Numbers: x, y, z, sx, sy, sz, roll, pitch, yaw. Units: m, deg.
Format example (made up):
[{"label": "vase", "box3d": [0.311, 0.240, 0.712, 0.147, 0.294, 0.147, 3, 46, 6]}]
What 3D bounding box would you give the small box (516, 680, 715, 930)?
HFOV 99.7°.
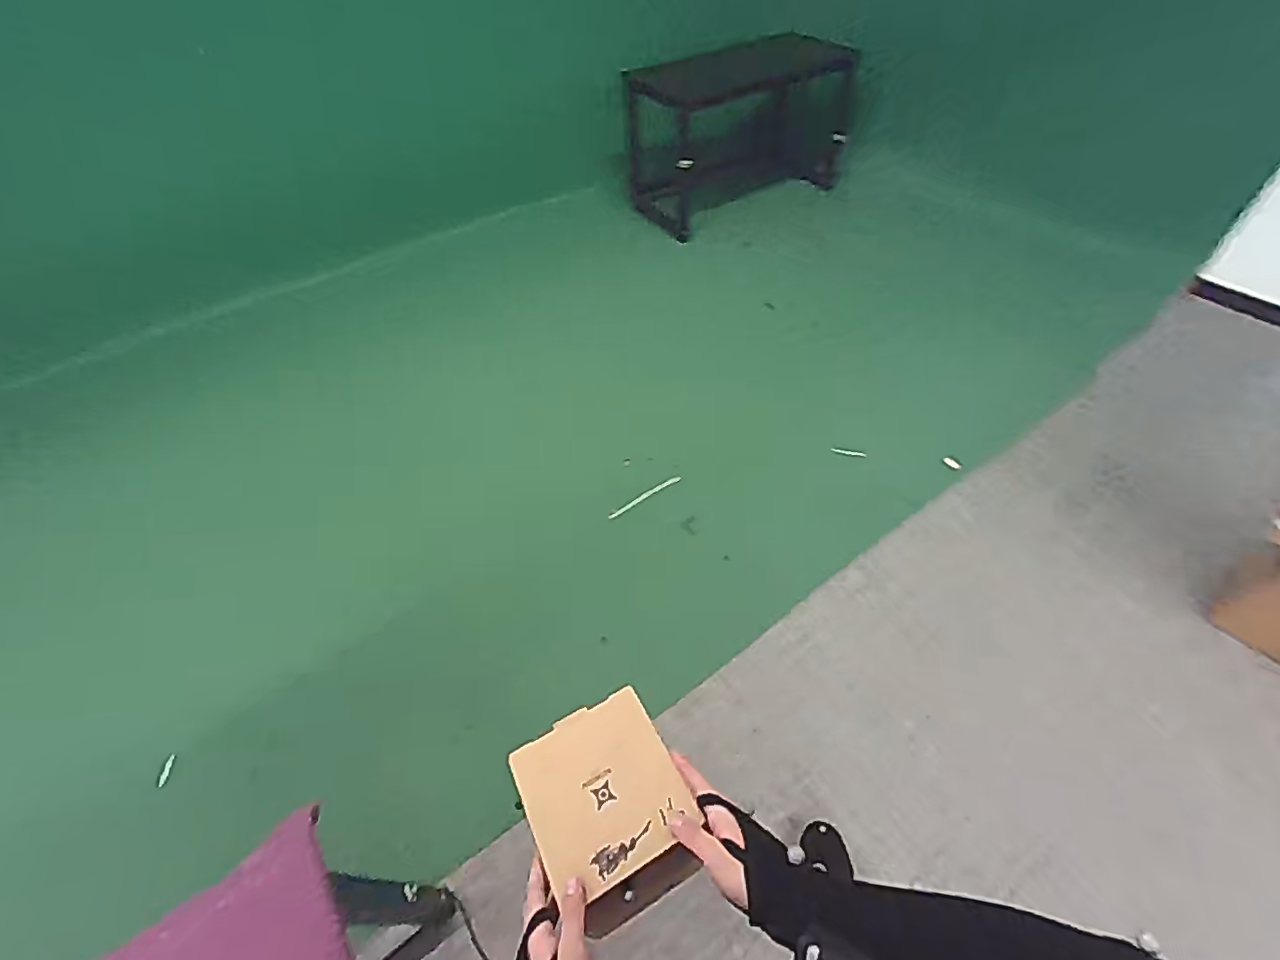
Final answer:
[{"label": "small box", "box3d": [-0.026, 0.381, 0.637, 0.168, 0.176, 0.179, -24, 46, -15]}]
